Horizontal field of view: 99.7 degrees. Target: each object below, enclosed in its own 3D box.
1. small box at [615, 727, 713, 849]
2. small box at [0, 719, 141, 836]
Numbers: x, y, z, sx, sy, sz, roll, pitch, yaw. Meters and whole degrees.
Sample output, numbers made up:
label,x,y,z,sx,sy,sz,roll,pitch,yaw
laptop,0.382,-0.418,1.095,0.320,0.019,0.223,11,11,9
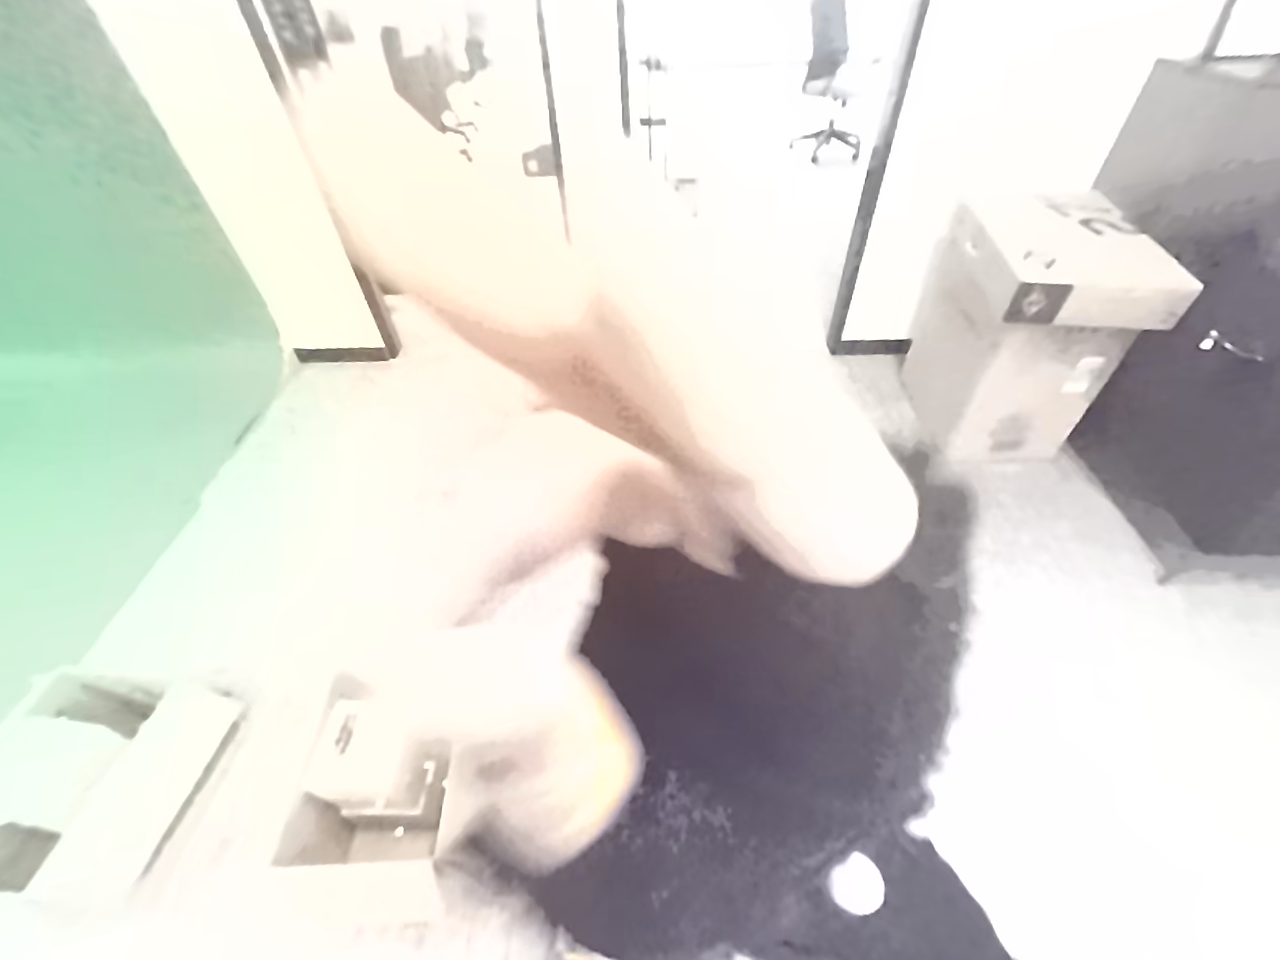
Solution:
label,x,y,z,sx,sy,sz,roll,pitch,yaw
small box,0.049,0.608,1.065,0.179,0.176,0.168,3,44,3
small box,-1.219,0.622,1.125,0.179,0.176,0.168,4,45,5
